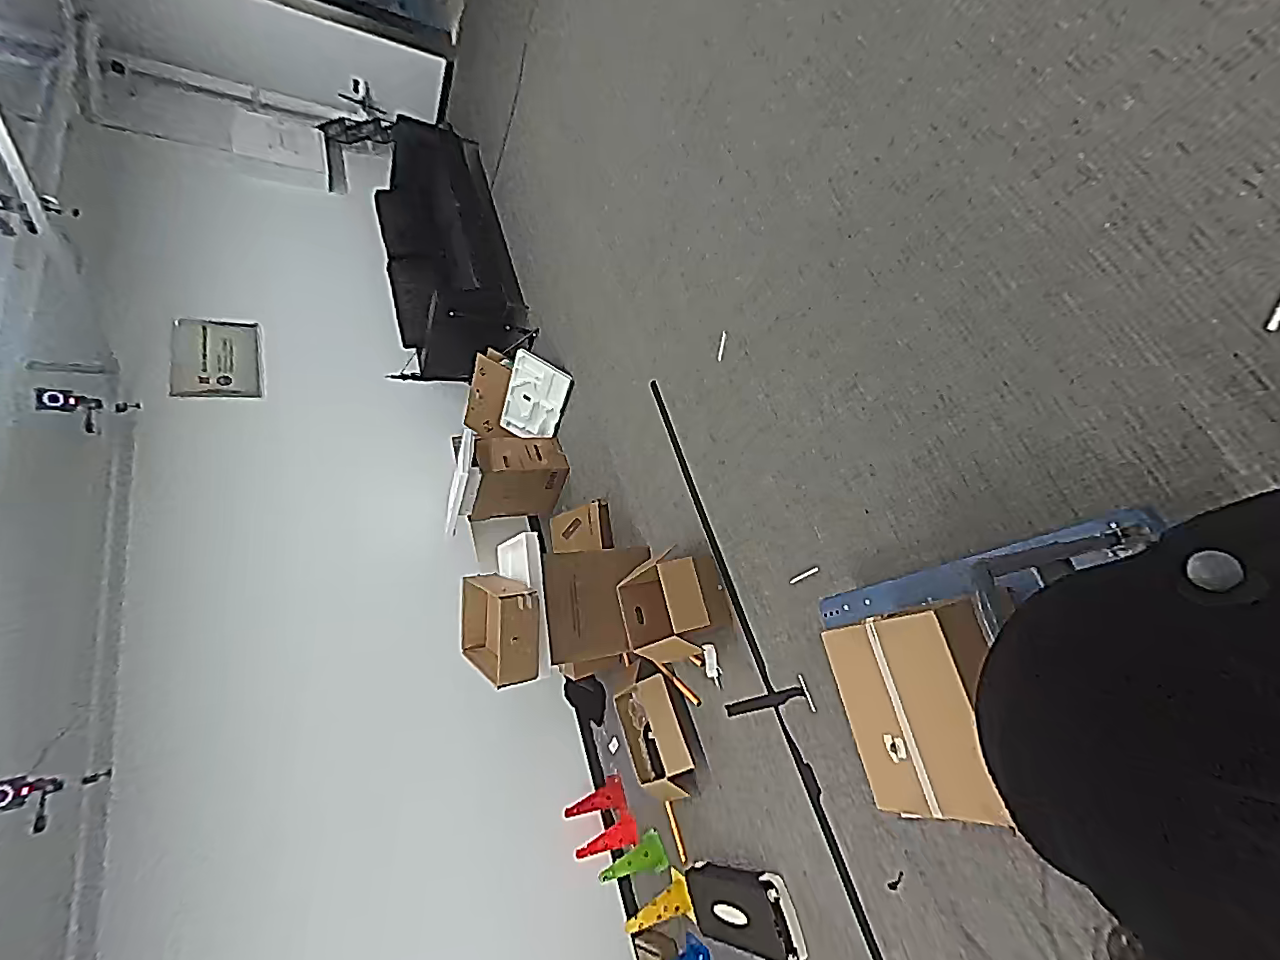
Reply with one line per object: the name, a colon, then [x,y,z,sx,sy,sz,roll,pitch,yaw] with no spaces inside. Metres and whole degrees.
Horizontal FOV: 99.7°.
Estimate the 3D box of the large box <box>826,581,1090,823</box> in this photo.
large box: [0.698,0.478,1.221,0.320,0.320,0.408,-39,62,54]
